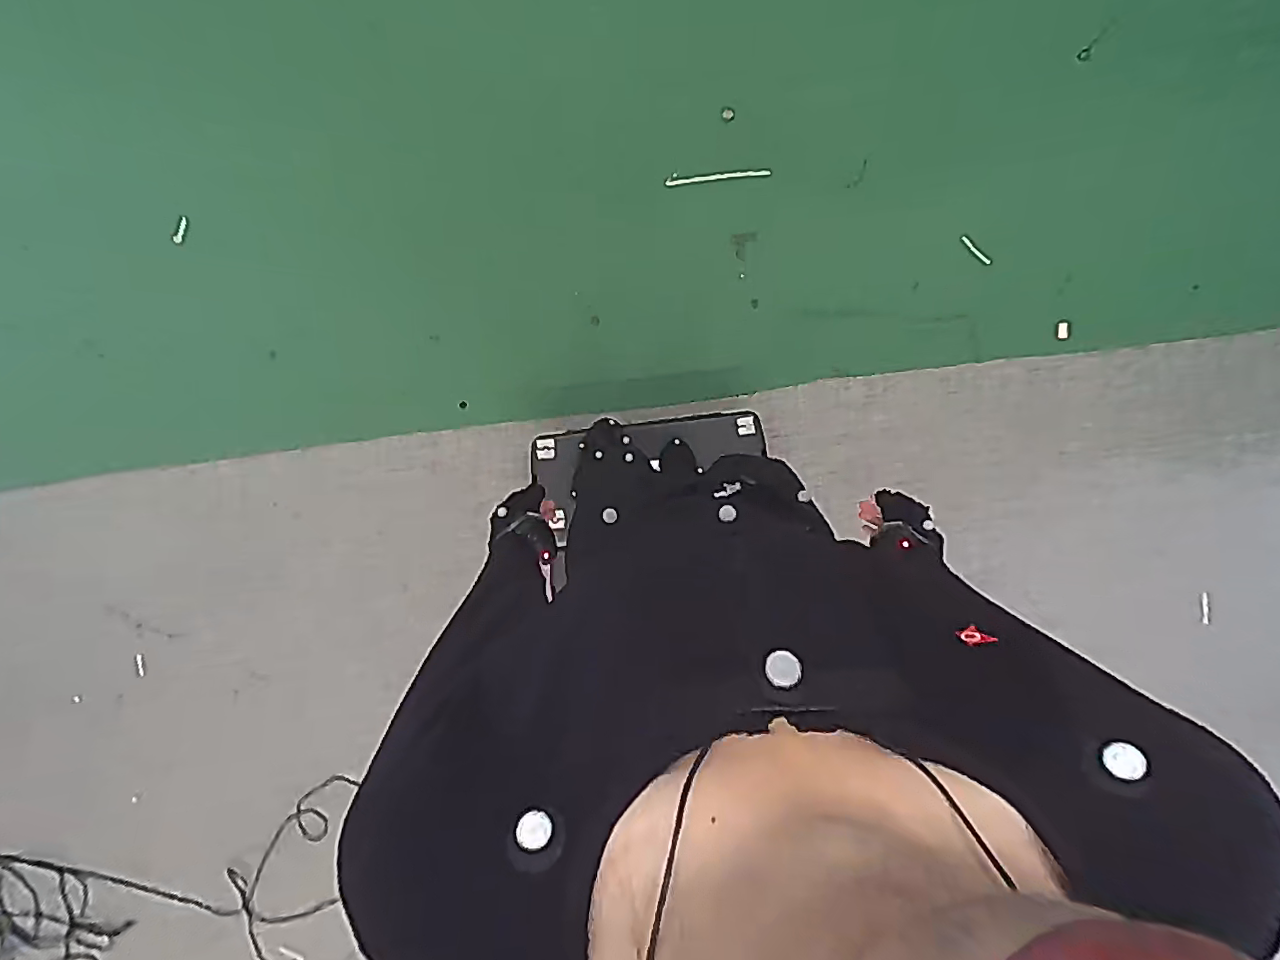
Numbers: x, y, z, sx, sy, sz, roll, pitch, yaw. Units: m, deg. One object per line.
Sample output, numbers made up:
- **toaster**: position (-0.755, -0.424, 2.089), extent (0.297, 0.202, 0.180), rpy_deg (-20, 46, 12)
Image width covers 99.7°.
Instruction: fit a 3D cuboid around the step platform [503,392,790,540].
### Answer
- **step platform**: position (0.017, -0.042, 1.377), extent (0.684, 0.204, 0.286), rpy_deg (-8, 96, 0)
